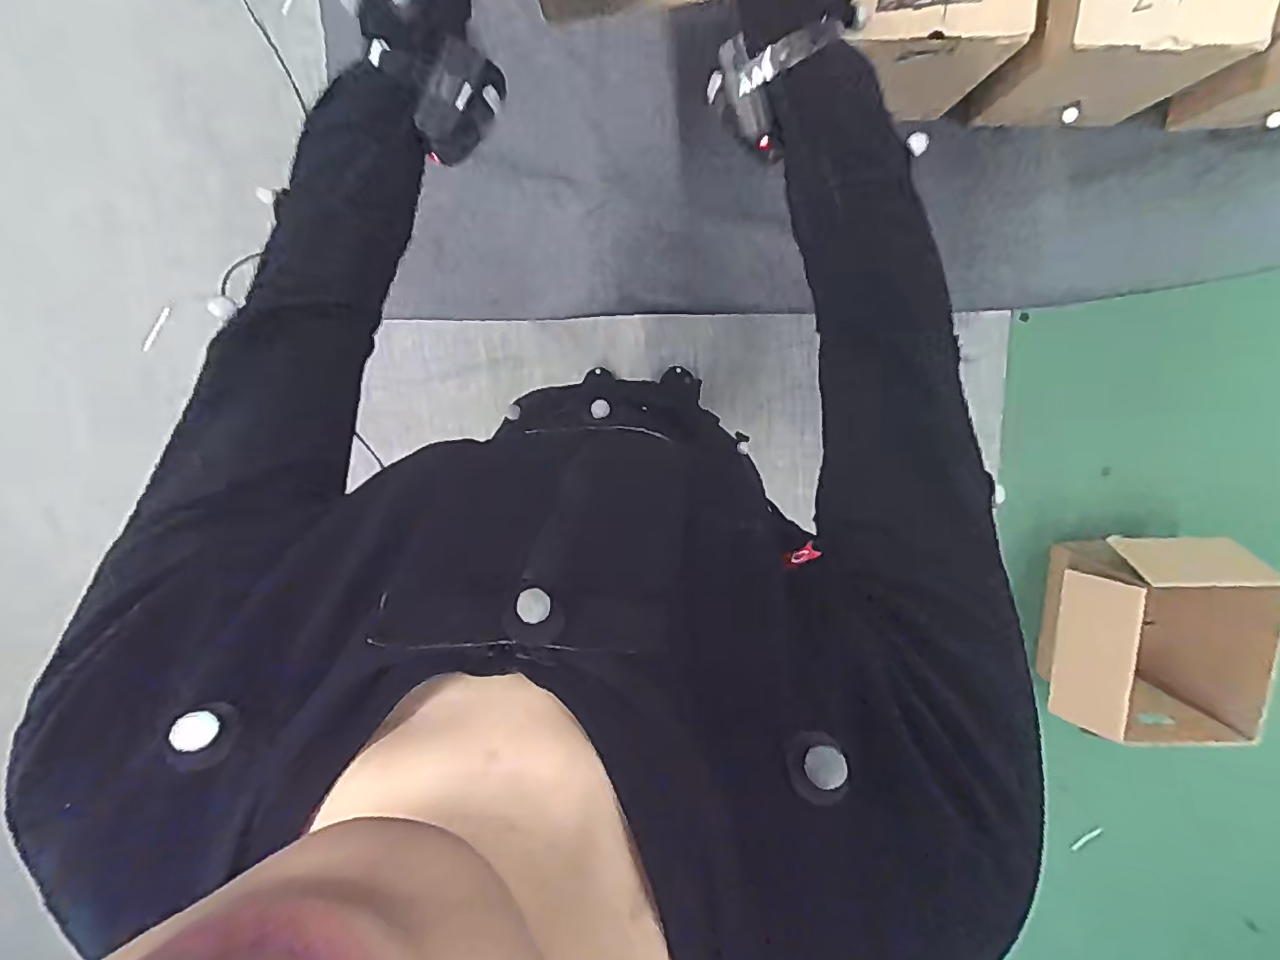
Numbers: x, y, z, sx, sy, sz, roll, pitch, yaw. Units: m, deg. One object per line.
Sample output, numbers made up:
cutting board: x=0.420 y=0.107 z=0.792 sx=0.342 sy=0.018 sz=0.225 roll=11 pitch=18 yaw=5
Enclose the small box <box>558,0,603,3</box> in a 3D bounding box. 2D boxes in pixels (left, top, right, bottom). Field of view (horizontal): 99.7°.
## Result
small box: x=-0.017 y=-0.465 z=0.355 sx=0.168 sy=0.176 sz=0.179 roll=-6 pitch=95 yaw=5
